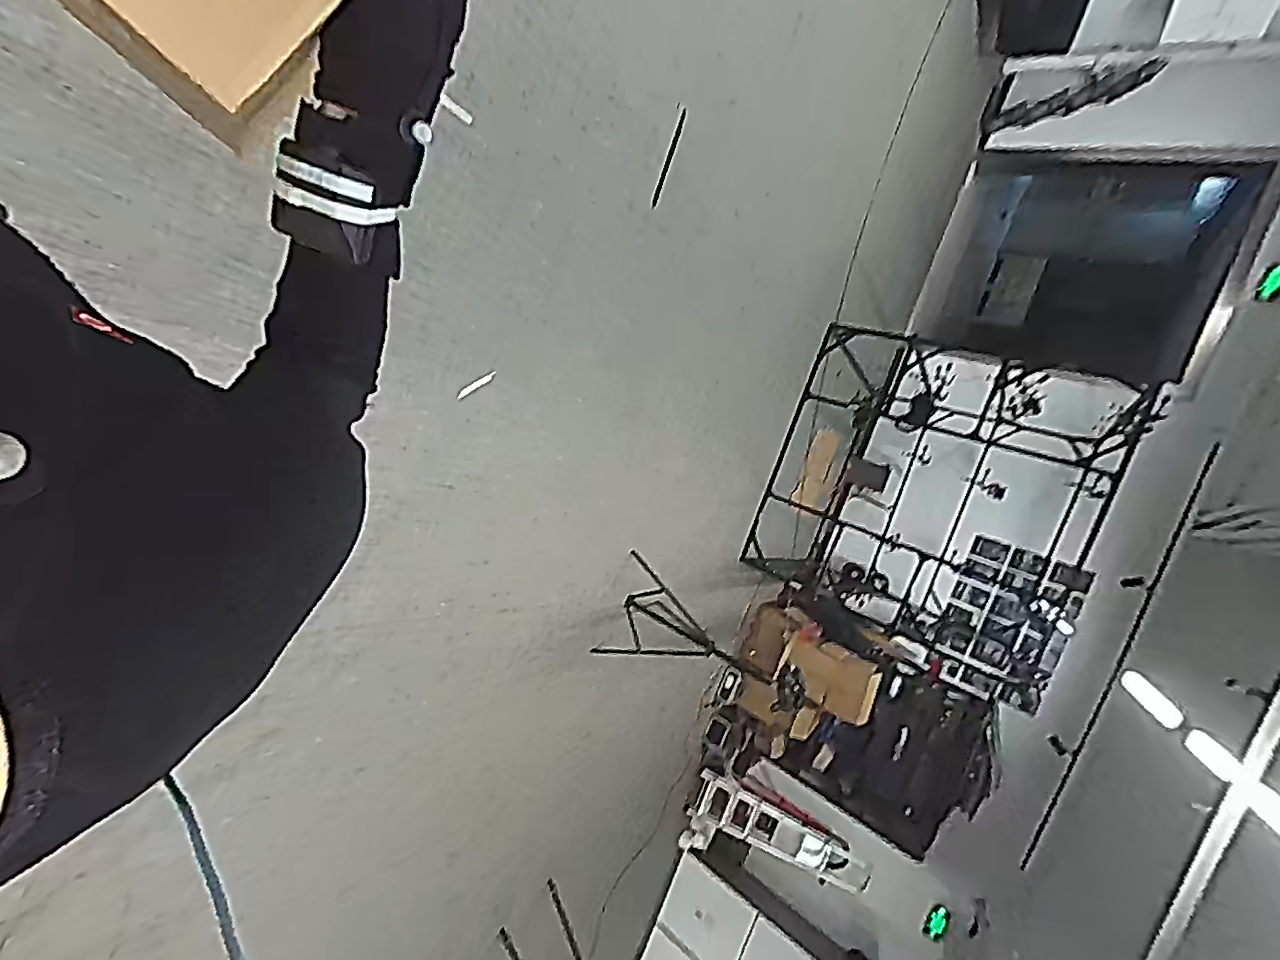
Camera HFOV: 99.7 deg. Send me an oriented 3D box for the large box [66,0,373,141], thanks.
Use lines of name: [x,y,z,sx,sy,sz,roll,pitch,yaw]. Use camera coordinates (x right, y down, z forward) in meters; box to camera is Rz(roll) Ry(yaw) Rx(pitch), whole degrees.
large box: [-0.339,-0.494,0.310,0.320,0.320,0.408,-51,132,-3]
